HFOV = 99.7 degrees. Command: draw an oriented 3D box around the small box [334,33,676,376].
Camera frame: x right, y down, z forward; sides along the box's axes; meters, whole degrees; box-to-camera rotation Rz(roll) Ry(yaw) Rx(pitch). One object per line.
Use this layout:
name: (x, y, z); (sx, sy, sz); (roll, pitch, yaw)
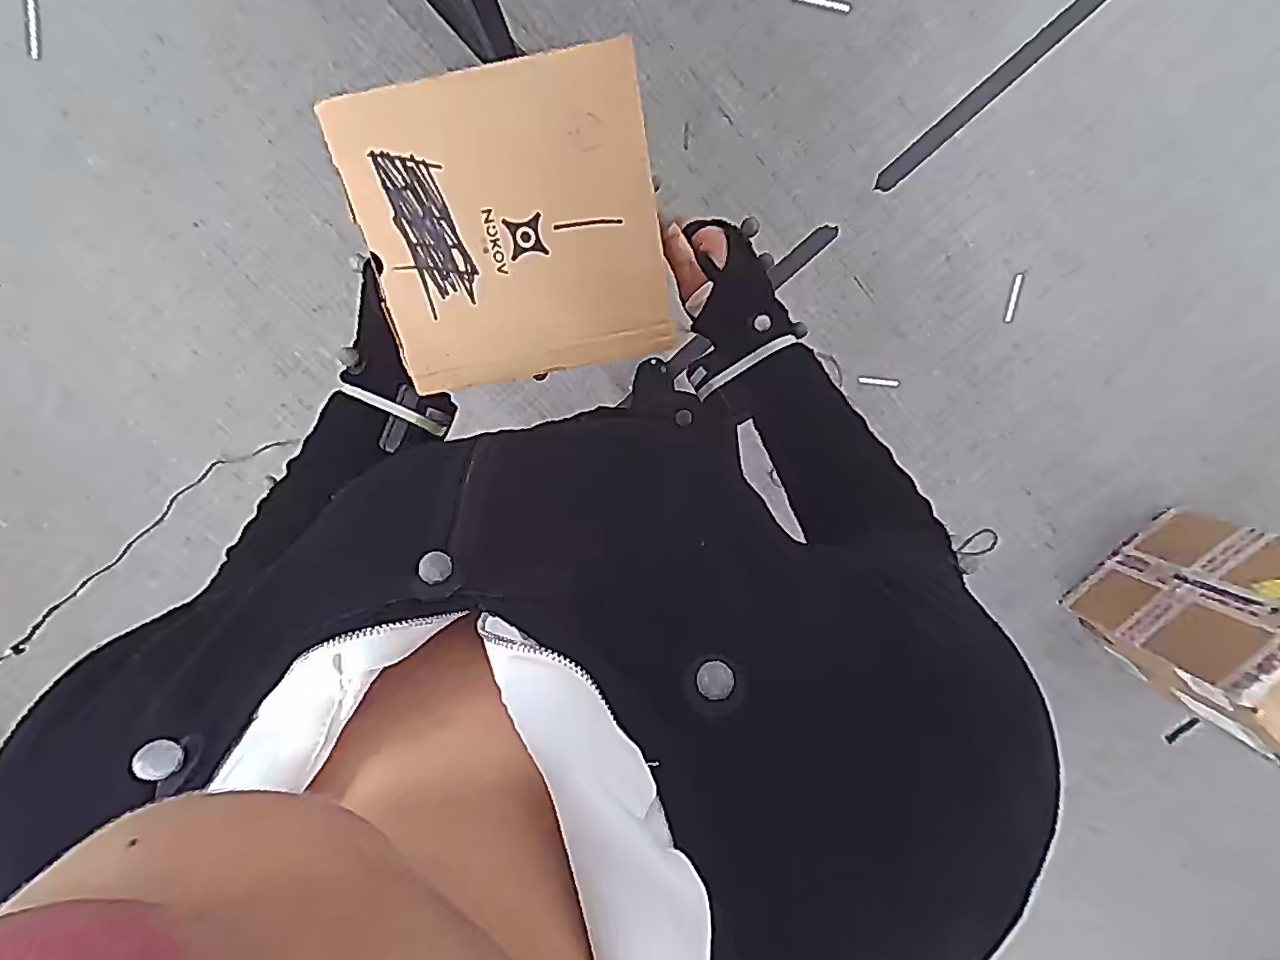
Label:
small box: (-0.073, -0.187, 0.397); (0.179, 0.176, 0.168); (-9, 116, 3)
